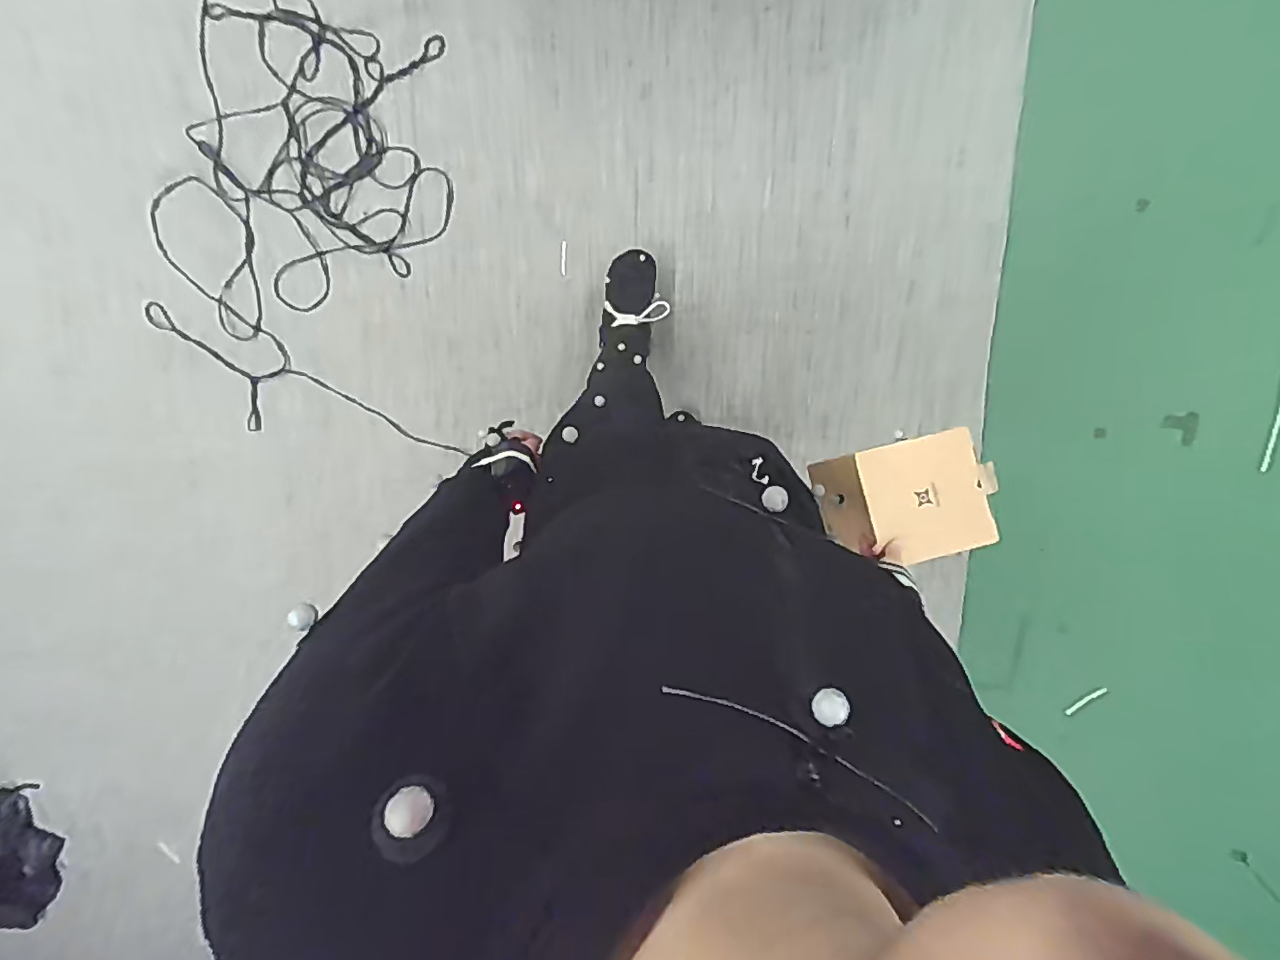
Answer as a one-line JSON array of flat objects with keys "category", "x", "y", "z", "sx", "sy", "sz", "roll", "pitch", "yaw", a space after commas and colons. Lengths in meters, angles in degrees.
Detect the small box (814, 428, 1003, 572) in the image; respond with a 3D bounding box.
[{"category": "small box", "x": 0.377, "y": 0.035, "z": 0.798, "sx": 0.179, "sy": 0.176, "sz": 0.168, "roll": -14, "pitch": 86, "yaw": -7}]
